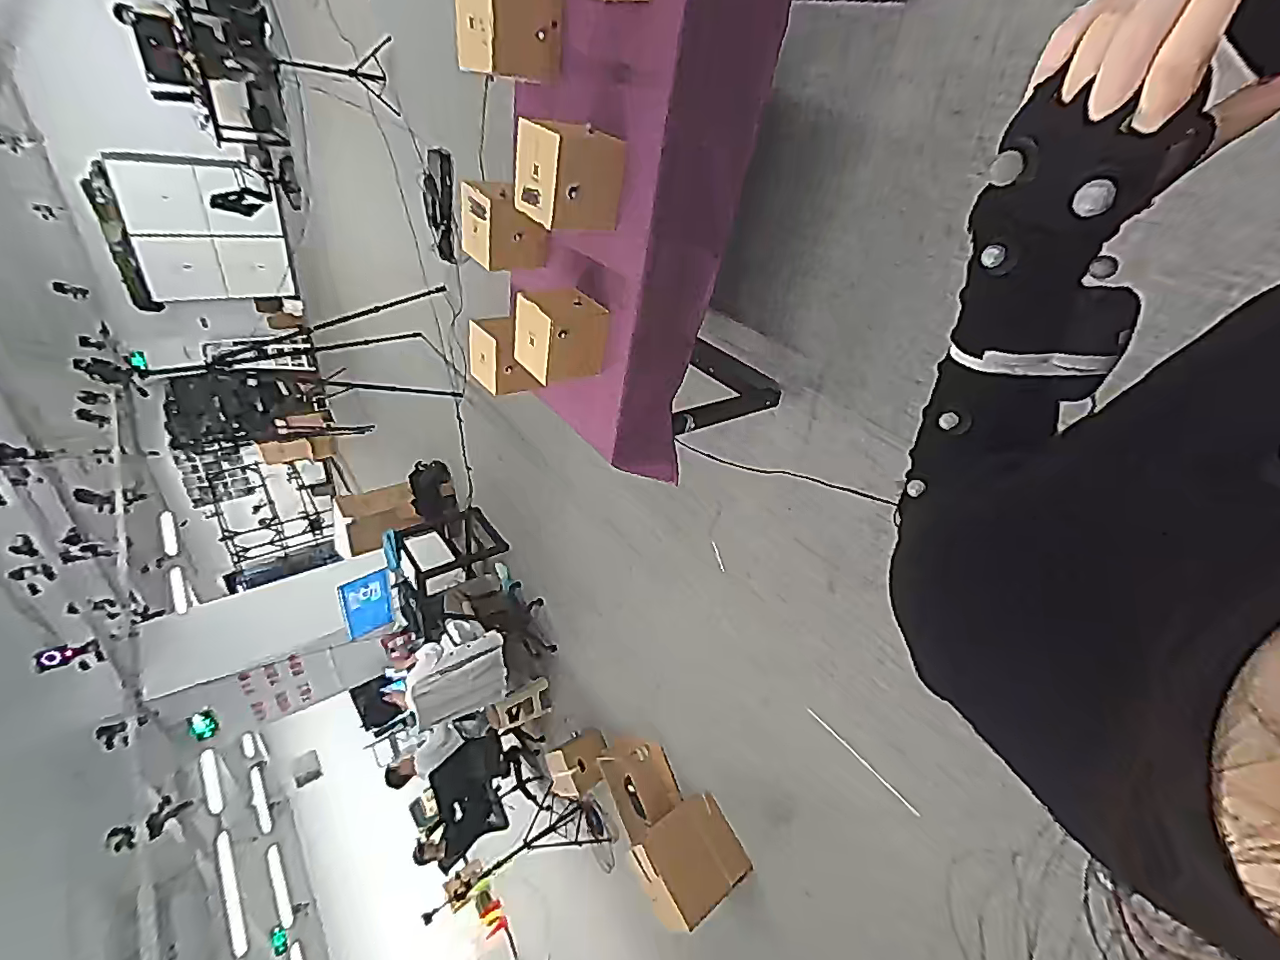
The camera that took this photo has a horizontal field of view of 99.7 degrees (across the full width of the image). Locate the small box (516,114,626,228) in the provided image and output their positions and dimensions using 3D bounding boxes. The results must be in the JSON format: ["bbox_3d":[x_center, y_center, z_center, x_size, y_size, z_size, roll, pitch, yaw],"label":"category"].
[{"bbox_3d":[-0.150,-0.656,1.160,0.168,0.176,0.179,44,136,33],"label":"small box"}]

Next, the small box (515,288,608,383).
[{"bbox_3d":[-0.198,-0.368,1.357,0.168,0.176,0.179,43,135,34],"label":"small box"}]

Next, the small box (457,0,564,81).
[{"bbox_3d":[-0.287,-0.994,1.189,0.179,0.176,0.168,39,134,37],"label":"small box"}]
